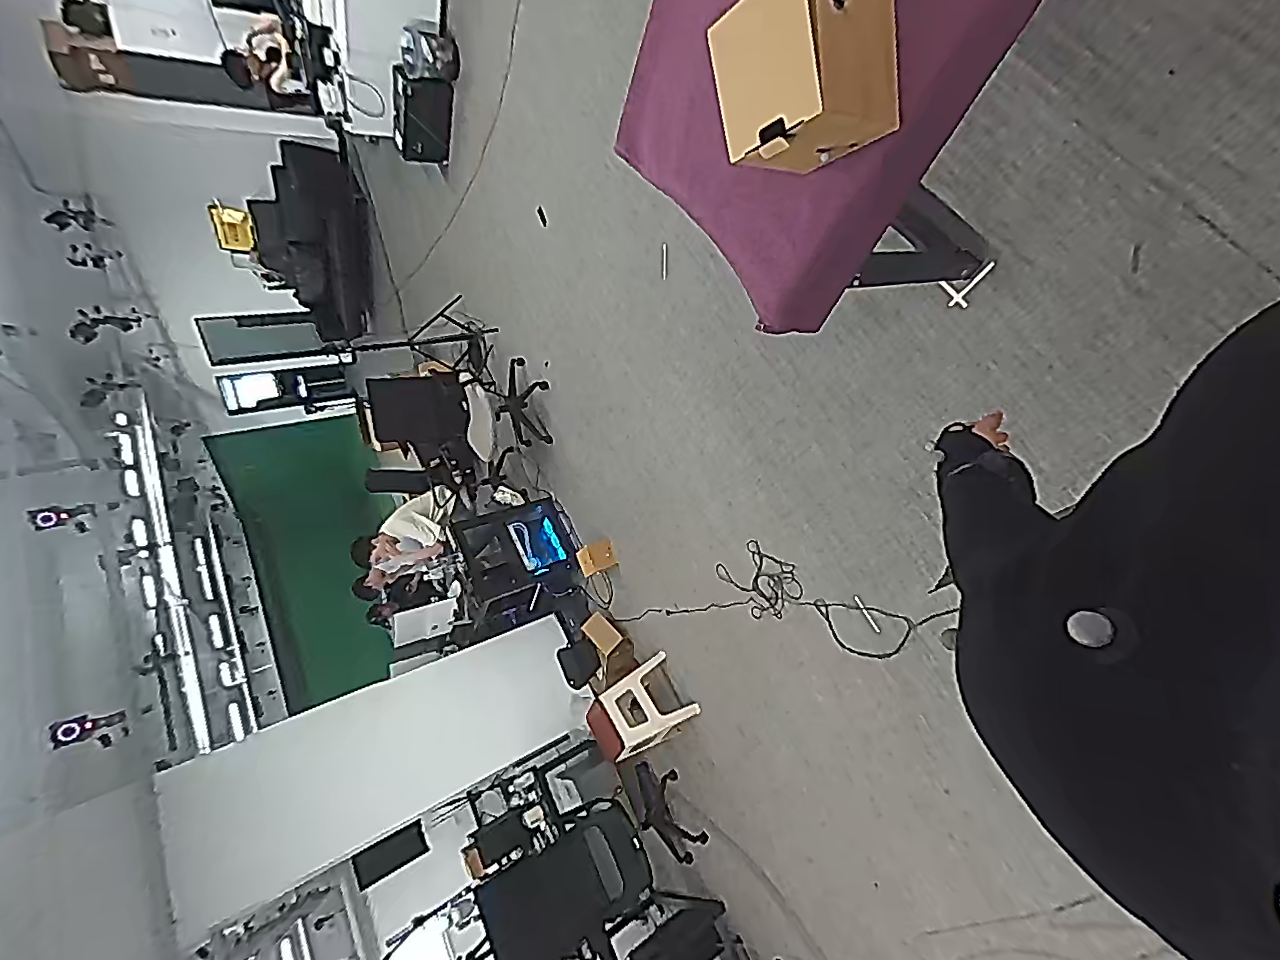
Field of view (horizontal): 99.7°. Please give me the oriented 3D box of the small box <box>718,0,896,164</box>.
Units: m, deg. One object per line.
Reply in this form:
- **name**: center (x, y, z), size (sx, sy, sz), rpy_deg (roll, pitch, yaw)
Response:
- **small box**: center (0.231, -0.564, 0.746), size (0.168, 0.176, 0.179), rpy_deg (10, 111, 57)
